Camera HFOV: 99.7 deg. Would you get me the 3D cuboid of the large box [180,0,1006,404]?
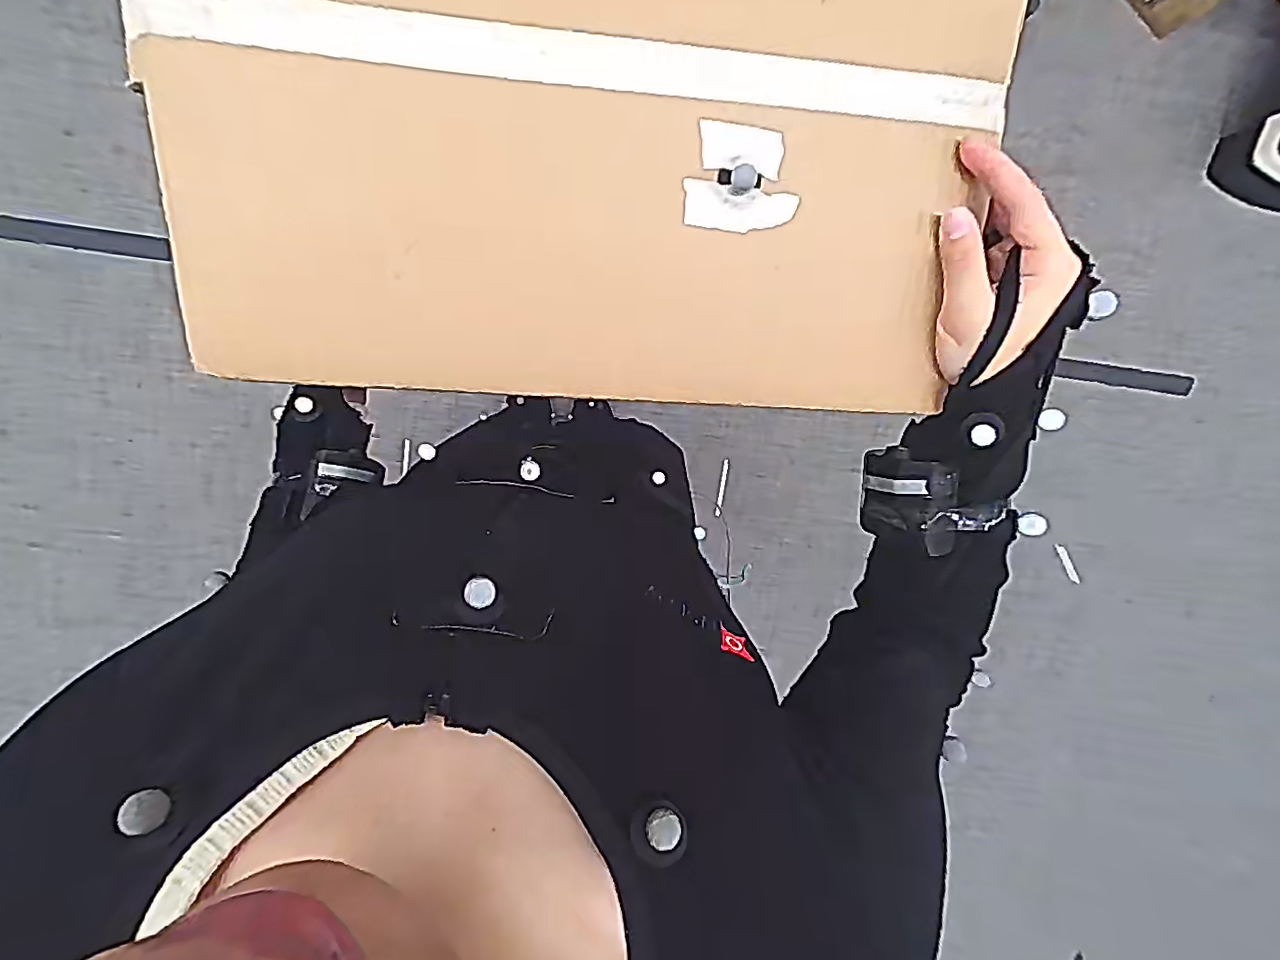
[{"bbox_3d":[-0.031,-0.233,0.413,0.408,0.320,0.320,1,105,-8],"label":"large box"}]
